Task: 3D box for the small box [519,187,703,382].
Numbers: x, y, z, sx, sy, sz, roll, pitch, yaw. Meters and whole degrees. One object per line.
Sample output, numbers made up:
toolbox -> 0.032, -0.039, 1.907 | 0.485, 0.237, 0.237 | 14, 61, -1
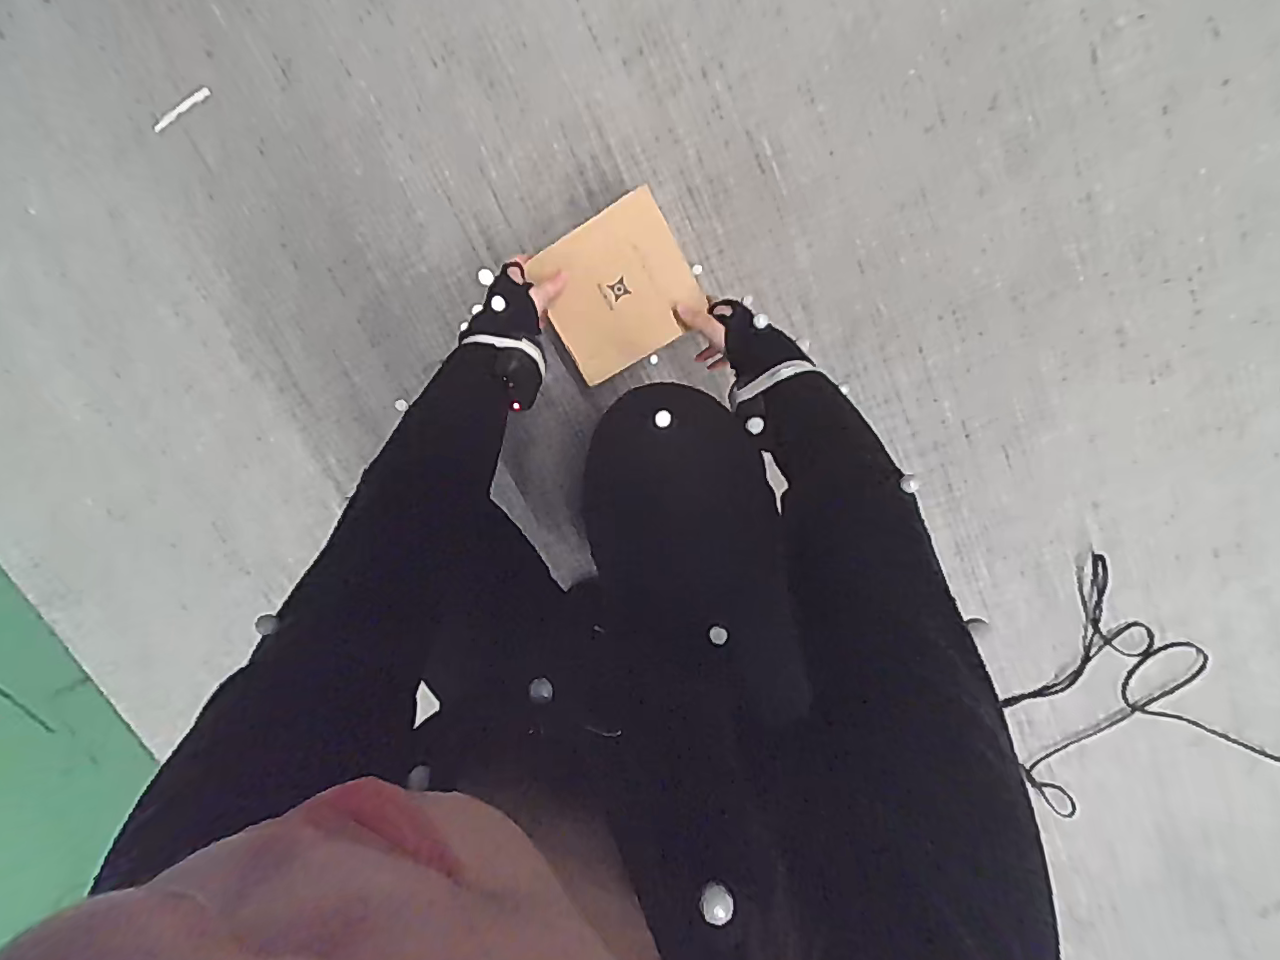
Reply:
small box -> -0.025, -0.249, 0.718 | 0.179, 0.176, 0.168 | -26, 103, 14
